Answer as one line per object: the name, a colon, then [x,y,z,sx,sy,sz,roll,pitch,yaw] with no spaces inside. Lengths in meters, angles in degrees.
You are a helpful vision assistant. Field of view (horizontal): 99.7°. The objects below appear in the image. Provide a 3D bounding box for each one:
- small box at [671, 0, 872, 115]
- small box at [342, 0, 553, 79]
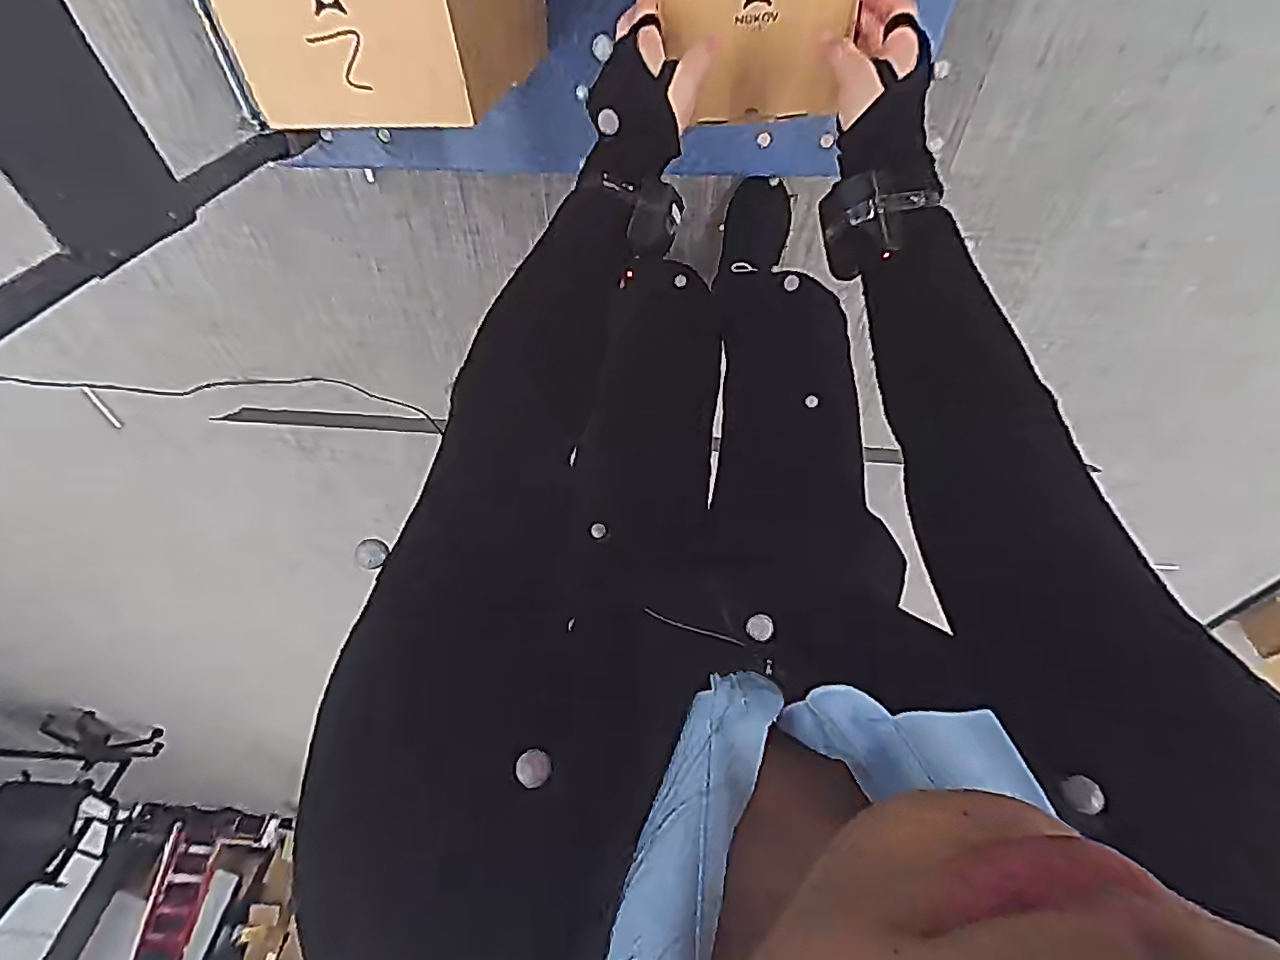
small box: [0.111,-0.459,0.489,0.168,0.176,0.179,0,137,6]
small box: [-0.179,-0.512,0.512,0.168,0.176,0.179,5,138,0]
